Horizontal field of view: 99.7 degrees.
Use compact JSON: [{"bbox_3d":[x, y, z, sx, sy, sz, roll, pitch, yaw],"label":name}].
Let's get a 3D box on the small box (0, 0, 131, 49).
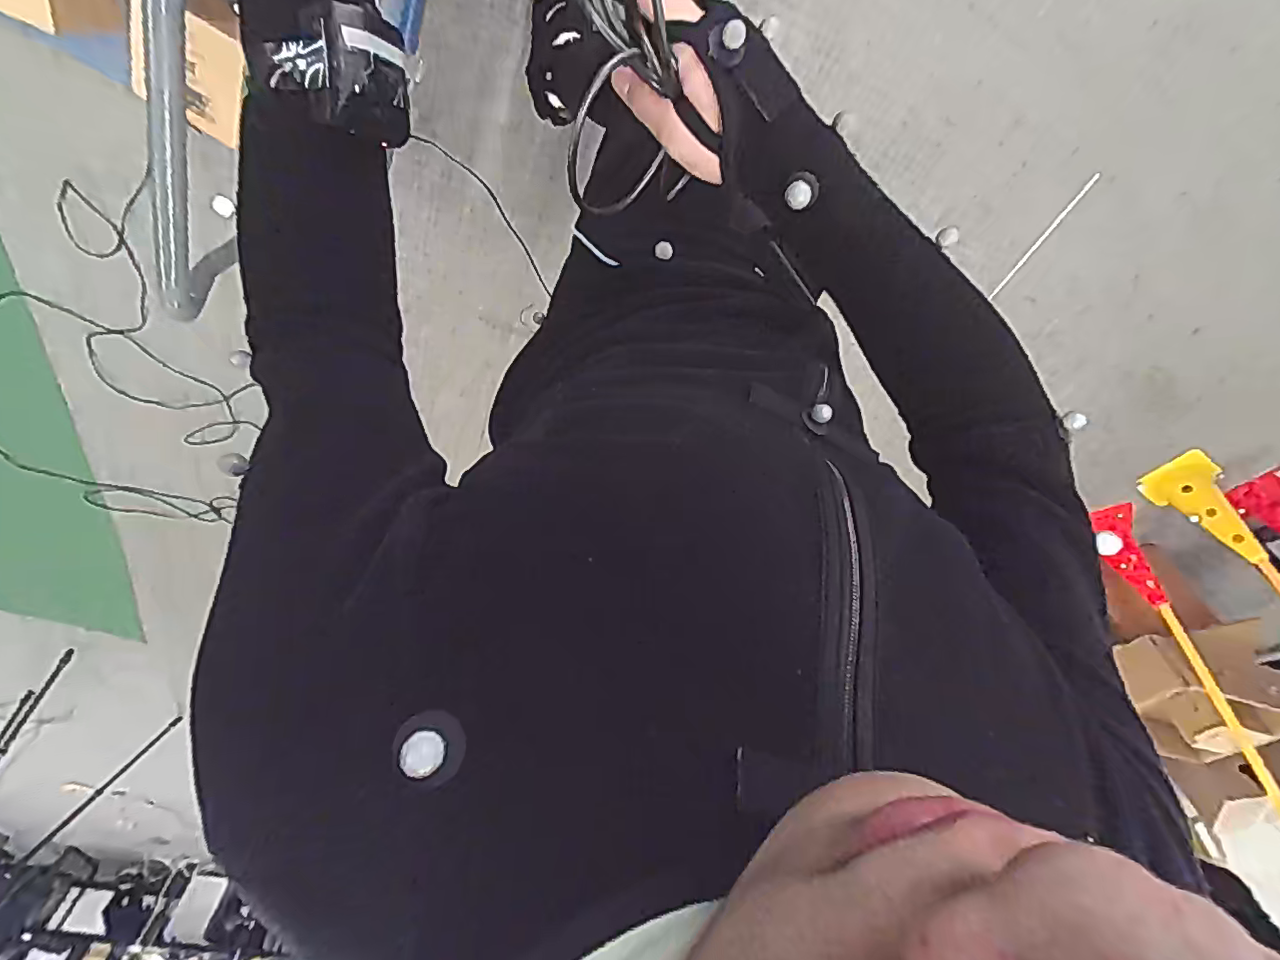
[{"bbox_3d":[-0.988,-0.853,0.887,0.179,0.176,0.168,20,129,-15],"label":"small box"}]
